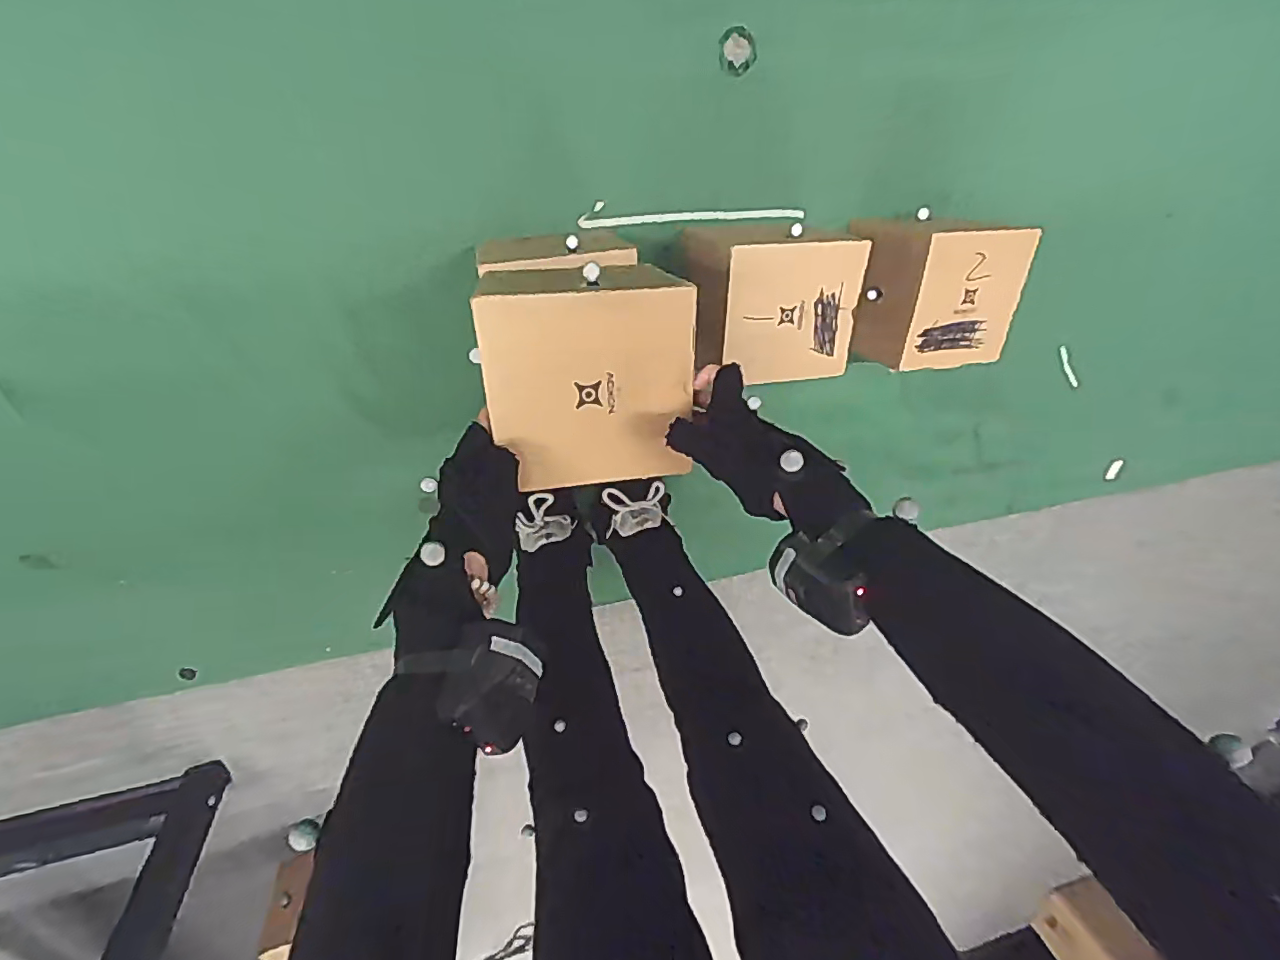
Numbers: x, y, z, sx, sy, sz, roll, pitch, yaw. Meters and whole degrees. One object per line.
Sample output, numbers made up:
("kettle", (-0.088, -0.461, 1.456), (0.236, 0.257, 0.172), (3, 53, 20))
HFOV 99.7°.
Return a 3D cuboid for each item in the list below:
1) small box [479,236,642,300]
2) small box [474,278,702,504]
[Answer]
("small box", (-0.093, -0.182, 0.653), (0.168, 0.176, 0.179), (-11, 124, -10))
("small box", (-0.051, -0.095, 0.511), (0.179, 0.176, 0.168), (-7, 117, -11))
